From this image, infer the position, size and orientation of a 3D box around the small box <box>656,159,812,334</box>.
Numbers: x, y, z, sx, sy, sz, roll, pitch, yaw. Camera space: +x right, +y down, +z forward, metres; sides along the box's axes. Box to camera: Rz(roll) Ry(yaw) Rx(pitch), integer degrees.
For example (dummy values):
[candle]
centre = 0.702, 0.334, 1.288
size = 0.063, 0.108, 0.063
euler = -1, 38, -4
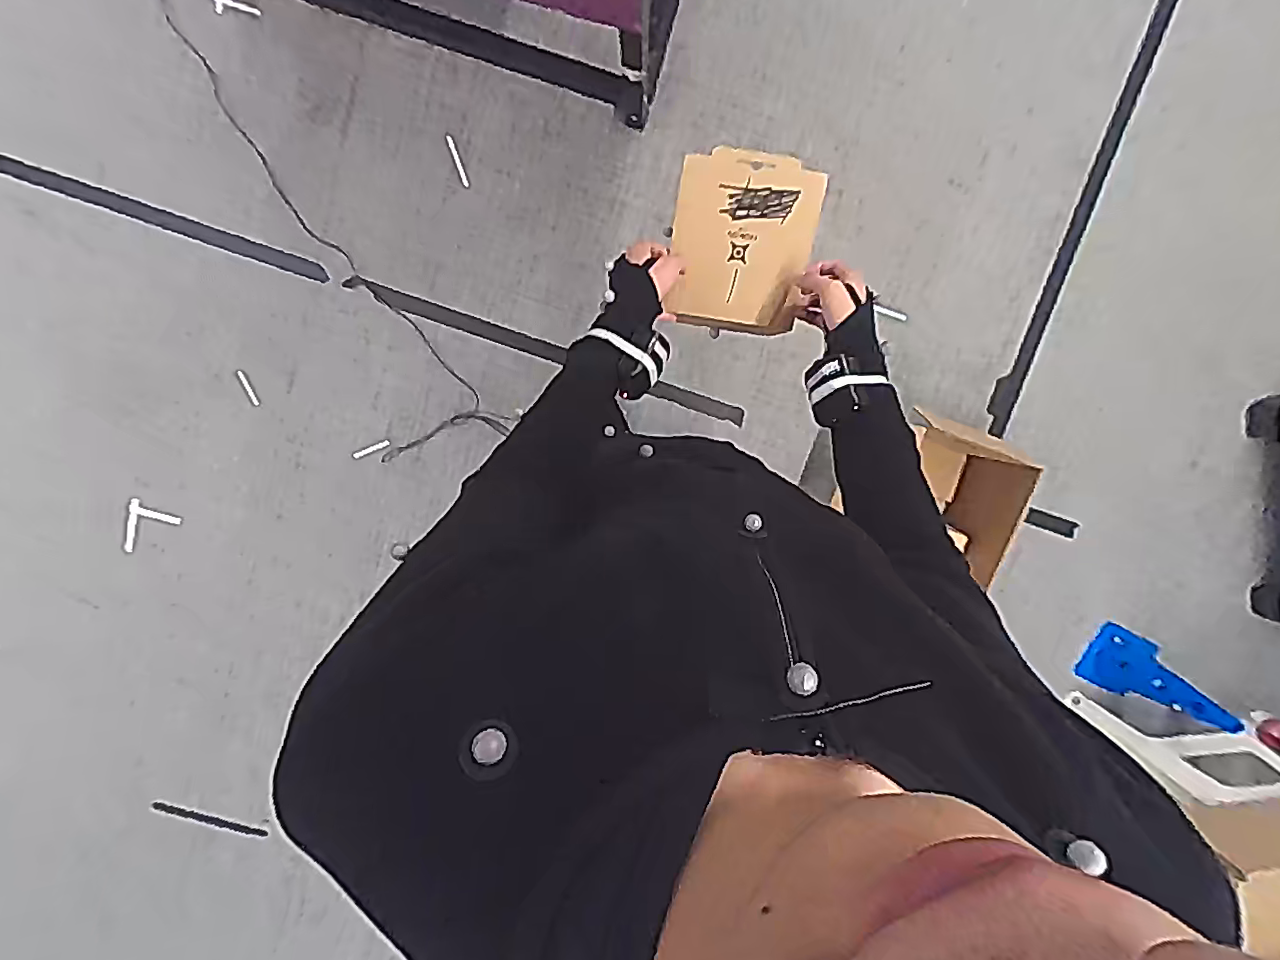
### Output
[small box]
centre = 0.116, -0.299, 0.728
size = 0.168, 0.176, 0.179
euler = 8, 103, 3
